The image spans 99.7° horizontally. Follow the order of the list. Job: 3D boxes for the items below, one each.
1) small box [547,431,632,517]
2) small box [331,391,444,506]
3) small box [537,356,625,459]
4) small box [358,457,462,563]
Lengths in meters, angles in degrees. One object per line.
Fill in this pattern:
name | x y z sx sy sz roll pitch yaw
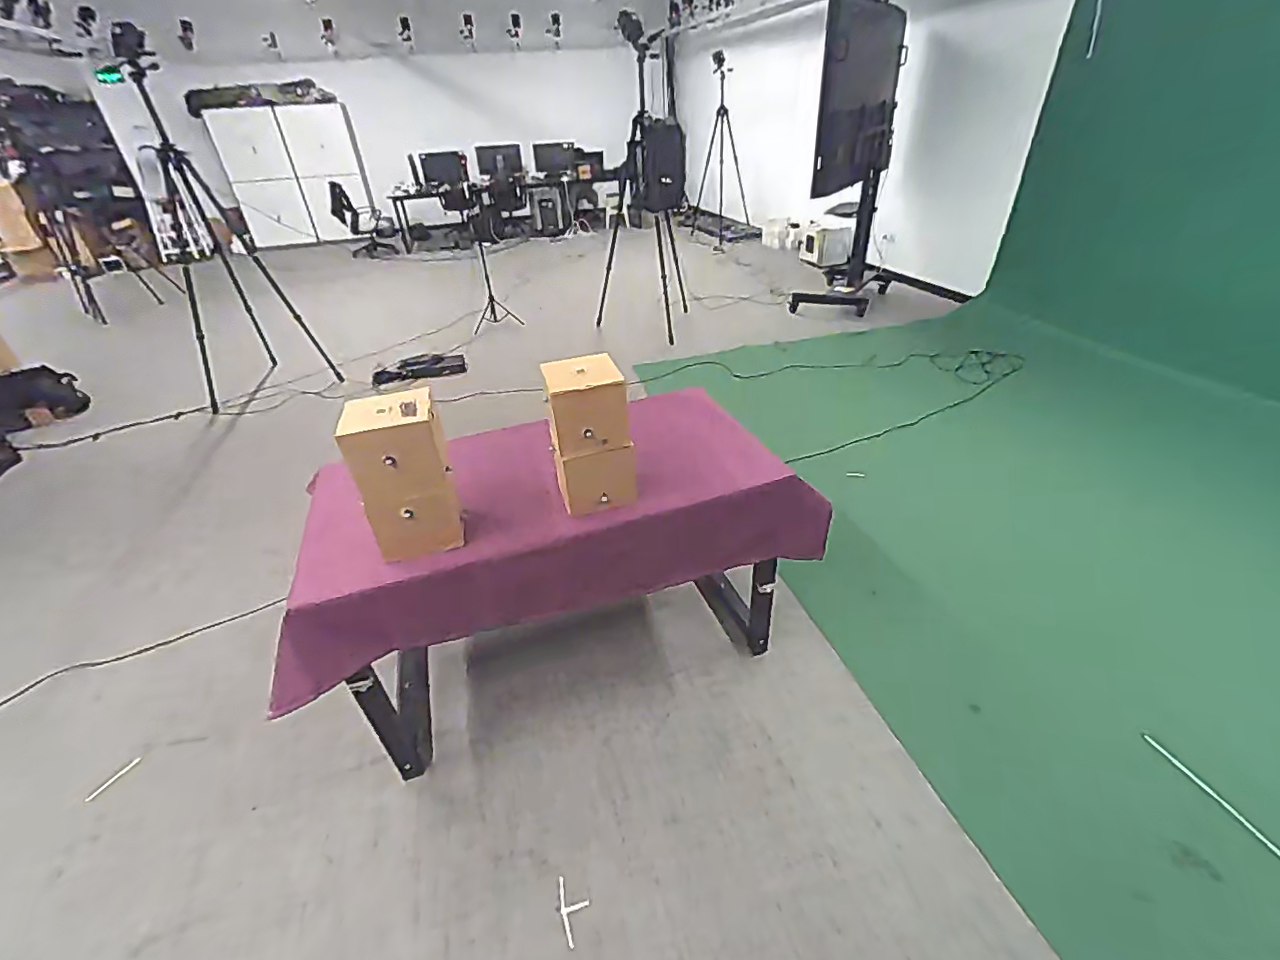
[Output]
small box | -0.124 -0.032 1.350 0.179 0.176 0.168 -13 35 -13
small box | -0.524 -0.069 1.154 0.179 0.176 0.168 -13 36 -12
small box | -0.139 -0.172 1.267 0.168 0.176 0.179 -13 36 -12
small box | -0.519 0.069 1.243 0.179 0.176 0.168 -12 36 -12
